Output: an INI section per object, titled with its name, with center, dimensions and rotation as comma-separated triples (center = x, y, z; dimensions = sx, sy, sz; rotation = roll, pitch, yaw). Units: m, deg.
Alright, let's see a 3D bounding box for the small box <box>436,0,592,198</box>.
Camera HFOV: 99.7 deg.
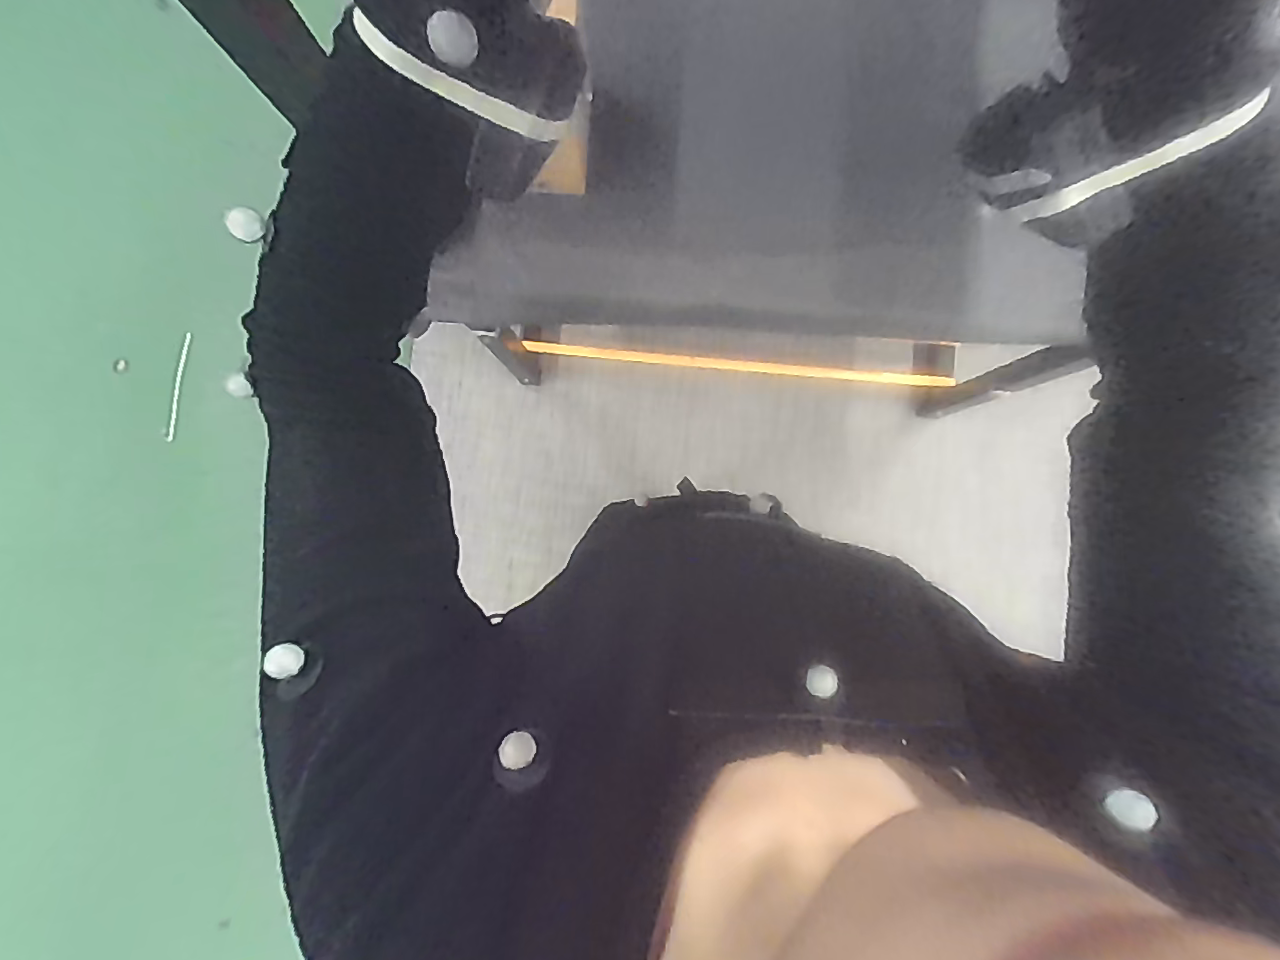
[small box]
center = -0.156, -0.515, 0.727
dimensions = 0.168, 0.176, 0.179
rotation = 3, 86, 1
